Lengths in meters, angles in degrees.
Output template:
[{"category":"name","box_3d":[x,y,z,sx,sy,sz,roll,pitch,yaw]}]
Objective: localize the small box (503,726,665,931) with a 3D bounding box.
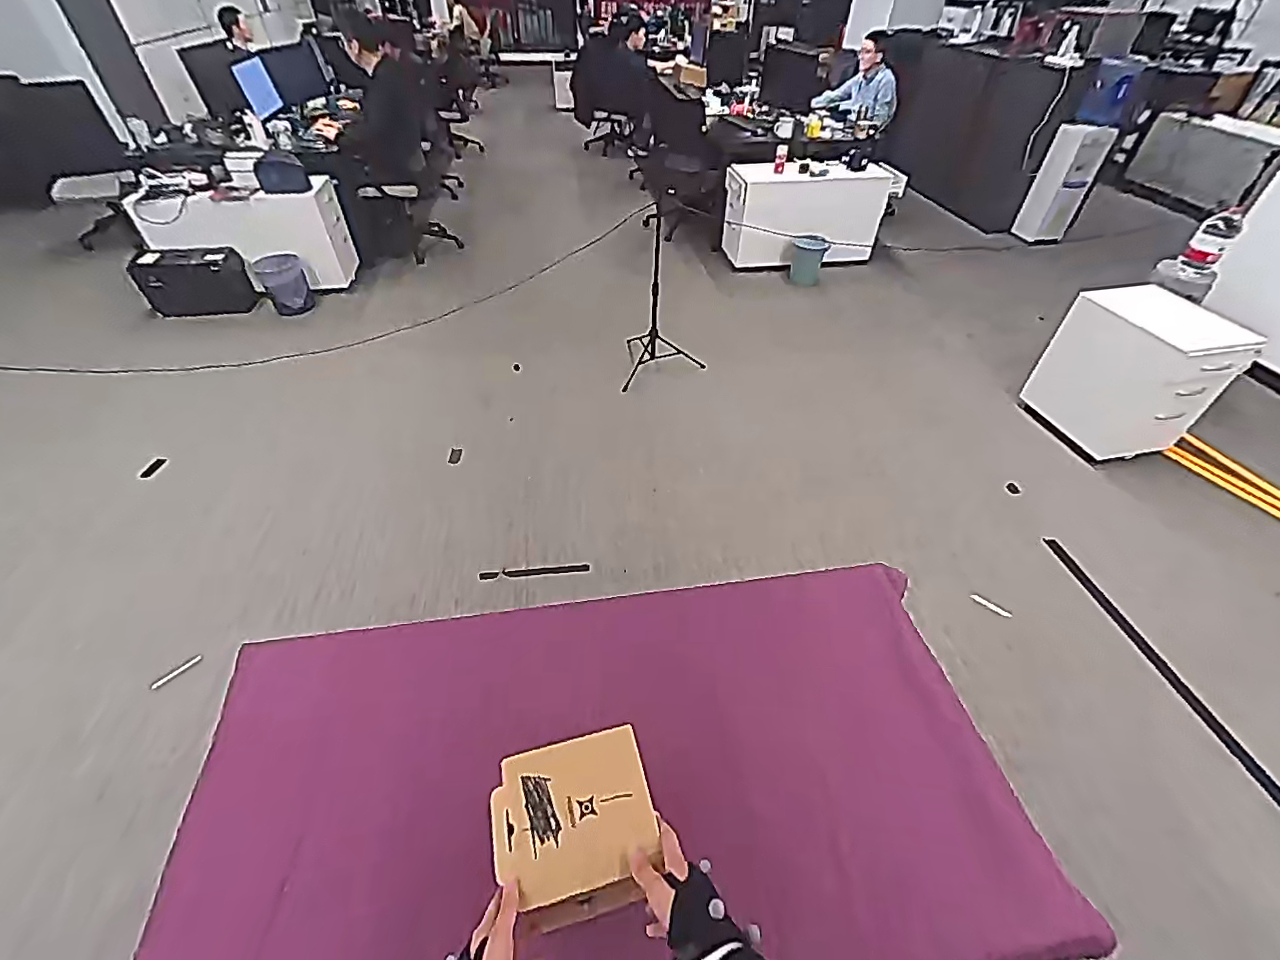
[{"category":"small box","box_3d":[-0.074,0.456,0.709,0.179,0.176,0.168,-9,45,-12]}]
